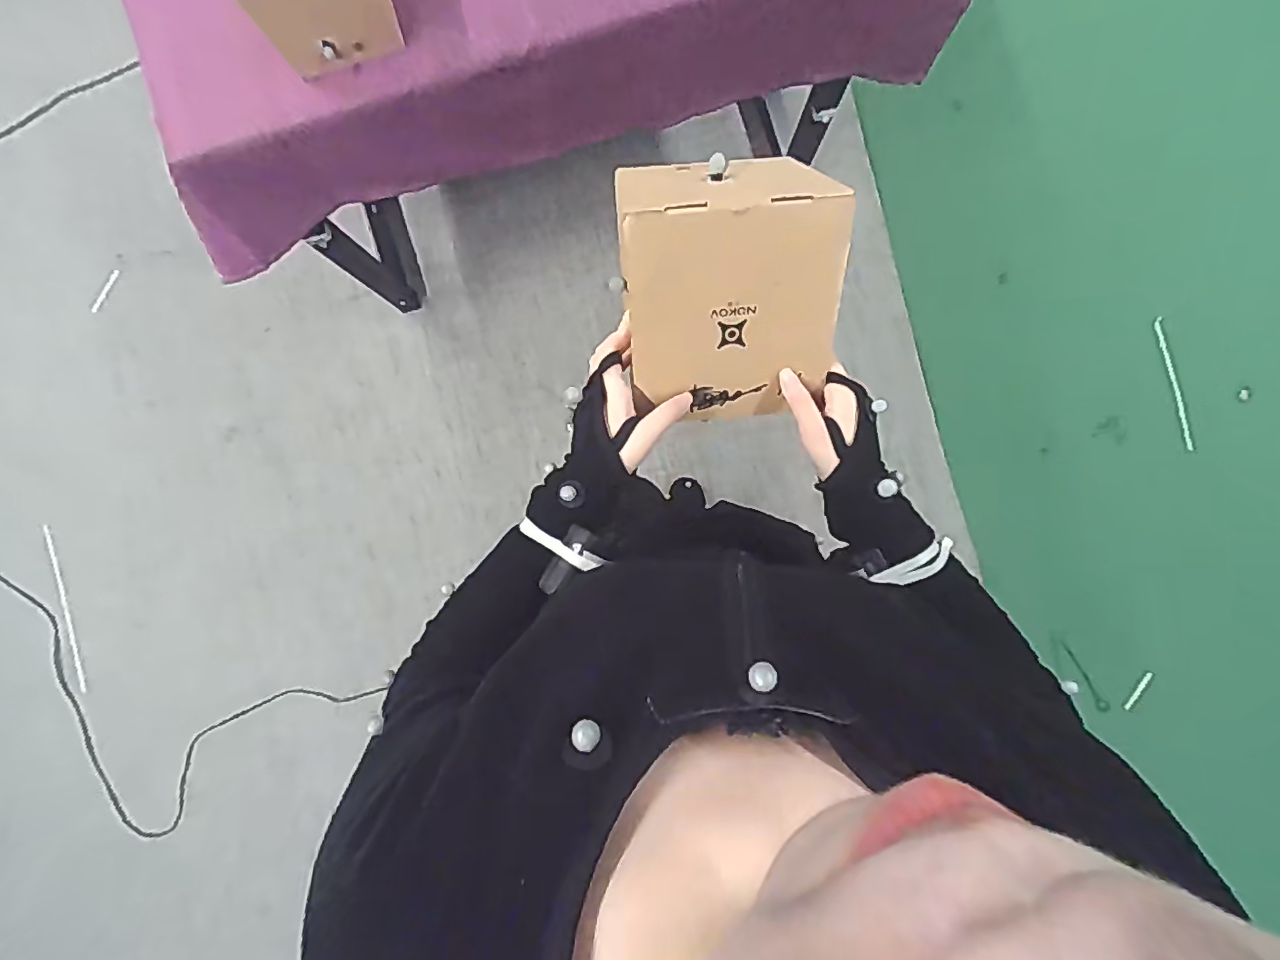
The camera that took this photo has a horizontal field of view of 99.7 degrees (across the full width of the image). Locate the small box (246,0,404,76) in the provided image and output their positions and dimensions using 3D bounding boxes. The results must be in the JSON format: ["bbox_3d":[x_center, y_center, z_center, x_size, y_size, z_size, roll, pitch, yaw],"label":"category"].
[{"bbox_3d":[-0.451,-0.707,0.731,0.168,0.176,0.179,-16,89,1],"label":"small box"}]

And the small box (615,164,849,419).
[{"bbox_3d":[0.066,-0.177,0.490,0.168,0.176,0.179,-4,128,0],"label":"small box"}]
